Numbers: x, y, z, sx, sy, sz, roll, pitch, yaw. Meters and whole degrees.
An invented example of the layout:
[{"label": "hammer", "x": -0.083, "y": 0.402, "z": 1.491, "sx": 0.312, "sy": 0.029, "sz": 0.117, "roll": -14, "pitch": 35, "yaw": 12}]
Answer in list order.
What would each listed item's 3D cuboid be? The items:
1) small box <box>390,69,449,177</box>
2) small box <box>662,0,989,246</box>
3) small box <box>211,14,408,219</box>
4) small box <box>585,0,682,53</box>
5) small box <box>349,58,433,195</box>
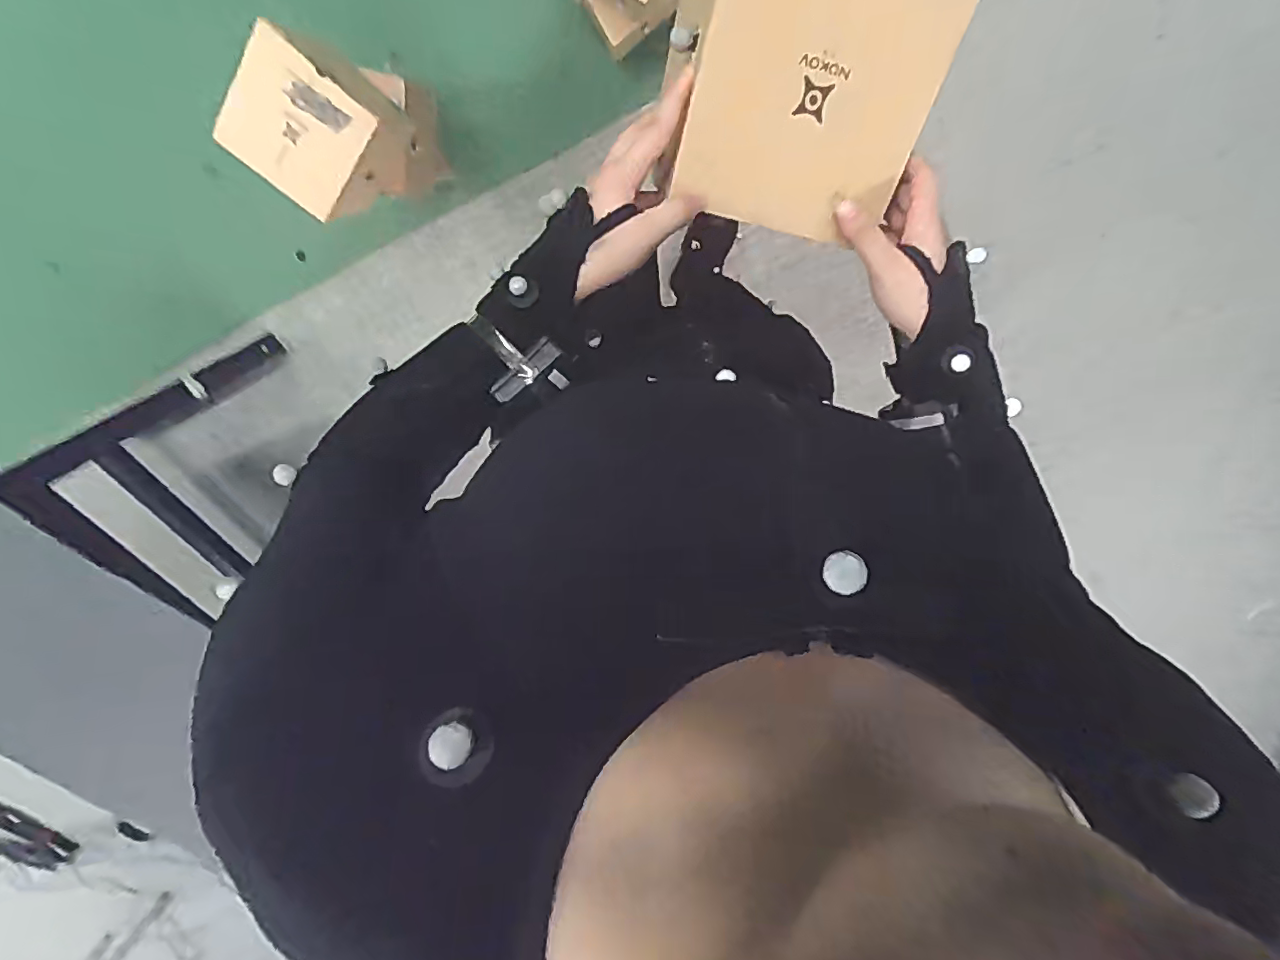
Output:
[{"label": "small box", "x": -0.502, "y": -0.696, "z": 1.081, "sx": 0.168, "sy": 0.176, "sz": 0.179, "roll": -8, "pitch": 121, "yaw": 2}, {"label": "small box", "x": 0.118, "y": -0.306, "z": 0.421, "sx": 0.168, "sy": 0.176, "sz": 0.179, "roll": 7, "pitch": 124, "yaw": -11}, {"label": "small box", "x": -0.471, "y": -0.528, "z": 0.802, "sx": 0.168, "sy": 0.176, "sz": 0.179, "roll": 37, "pitch": 115, "yaw": -23}, {"label": "small box", "x": -0.026, "y": -0.911, "z": 0.959, "sx": 0.168, "sy": 0.176, "sz": 0.179, "roll": -30, "pitch": 117, "yaw": 16}, {"label": "small box", "x": -0.467, "y": -0.617, "z": 0.940, "sx": 0.168, "sy": 0.176, "sz": 0.179, "roll": 10, "pitch": 120, "yaw": -9}]
